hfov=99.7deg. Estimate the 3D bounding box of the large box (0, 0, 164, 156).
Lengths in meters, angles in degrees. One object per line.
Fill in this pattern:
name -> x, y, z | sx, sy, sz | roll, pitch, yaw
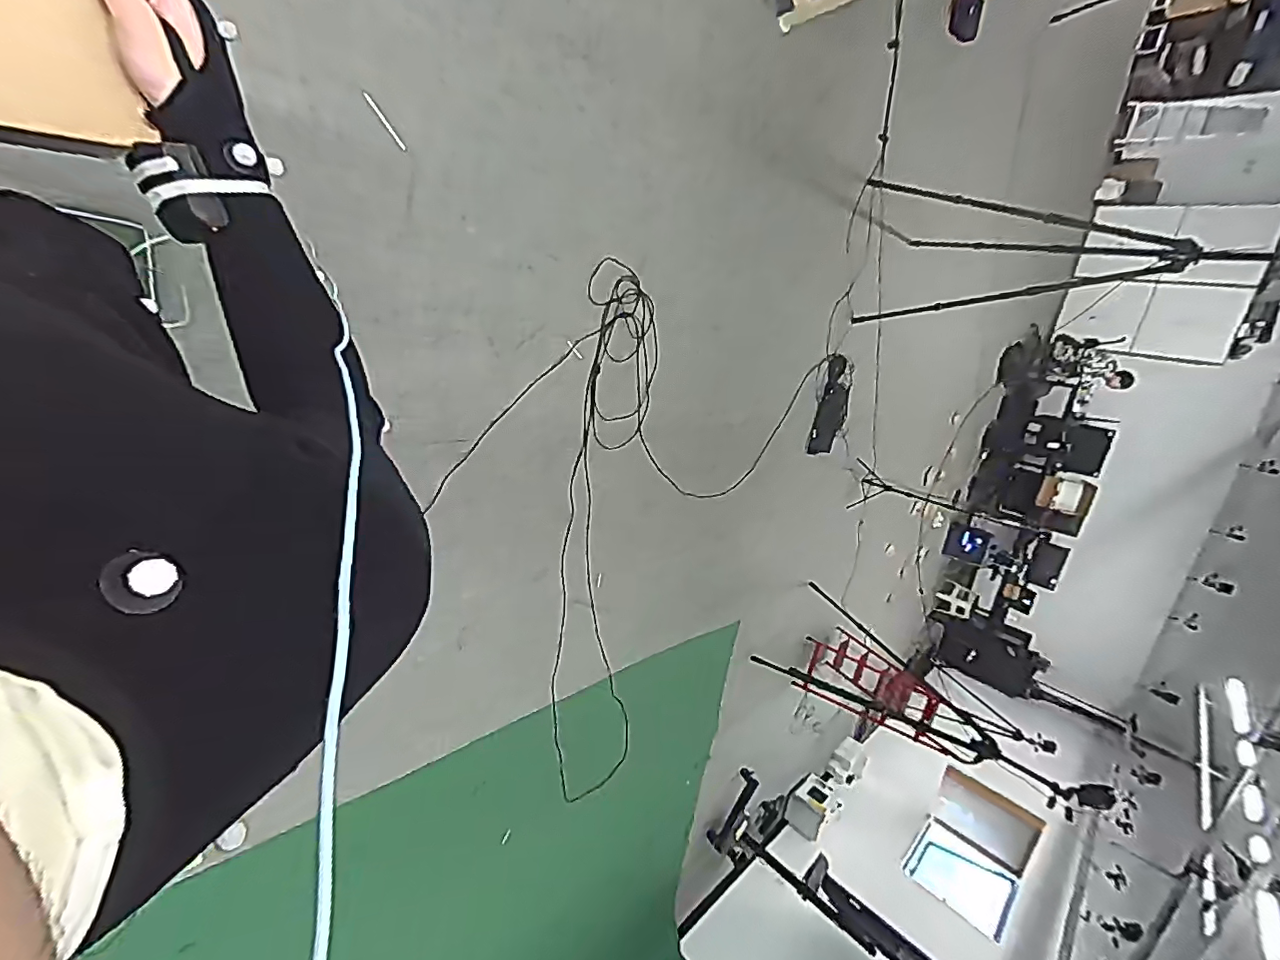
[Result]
large box -> -0.605, -0.411, 0.323 | 0.408, 0.320, 0.320 | -17, 123, -45
